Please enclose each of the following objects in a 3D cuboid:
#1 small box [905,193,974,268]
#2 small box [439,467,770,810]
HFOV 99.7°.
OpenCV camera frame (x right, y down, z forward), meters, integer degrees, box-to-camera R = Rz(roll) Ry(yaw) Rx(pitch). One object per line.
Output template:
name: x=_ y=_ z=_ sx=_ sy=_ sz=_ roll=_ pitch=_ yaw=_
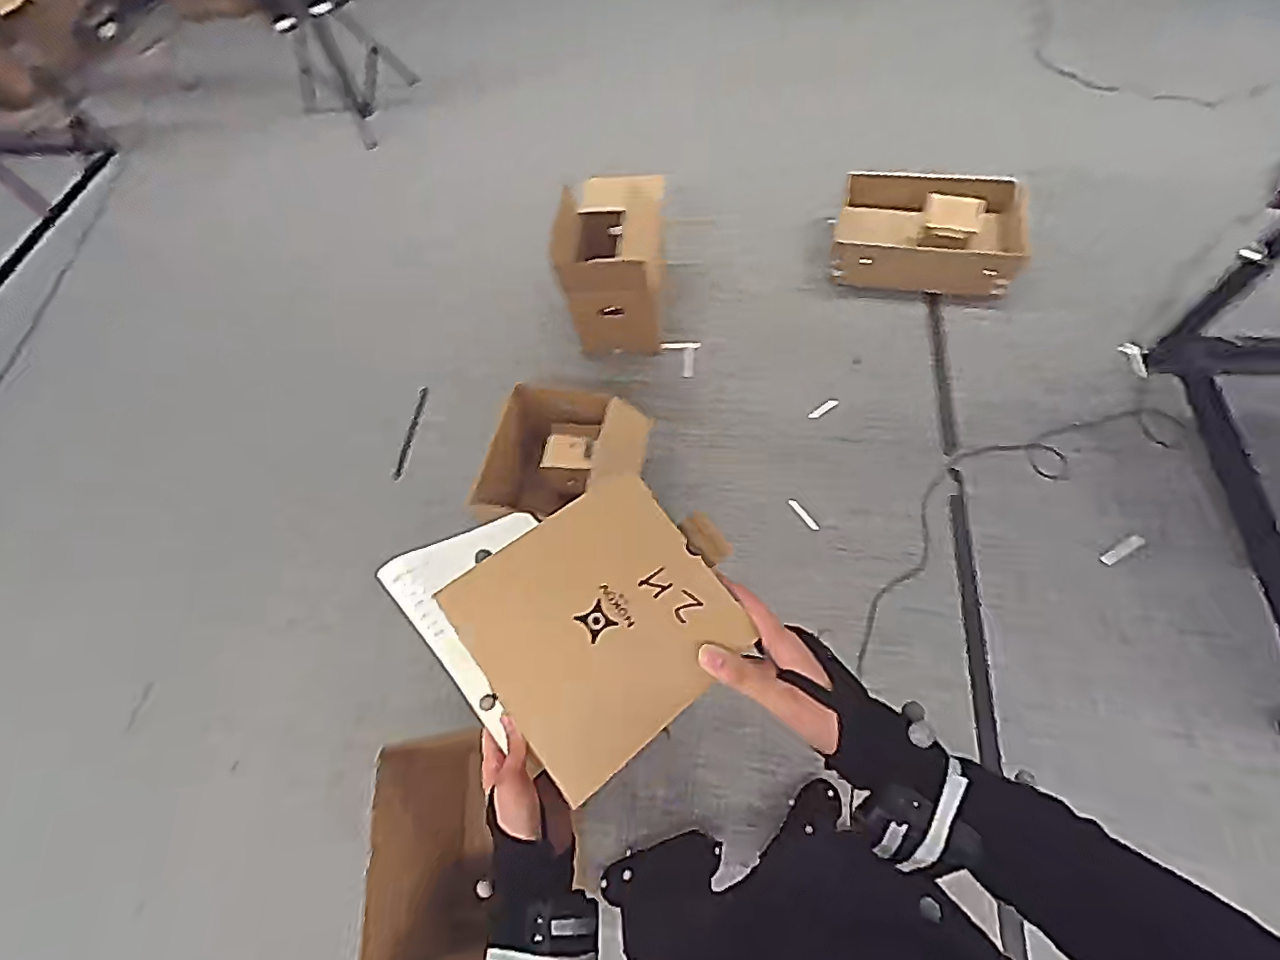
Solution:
small box: x=1.068 y=-0.889 z=1.937 sx=0.168 sy=0.176 sz=0.179 roll=16 pitch=66 yaw=15
small box: x=-0.035 y=0.124 z=0.443 sx=0.179 sy=0.176 sz=0.168 roll=-33 pitch=79 yaw=-23
